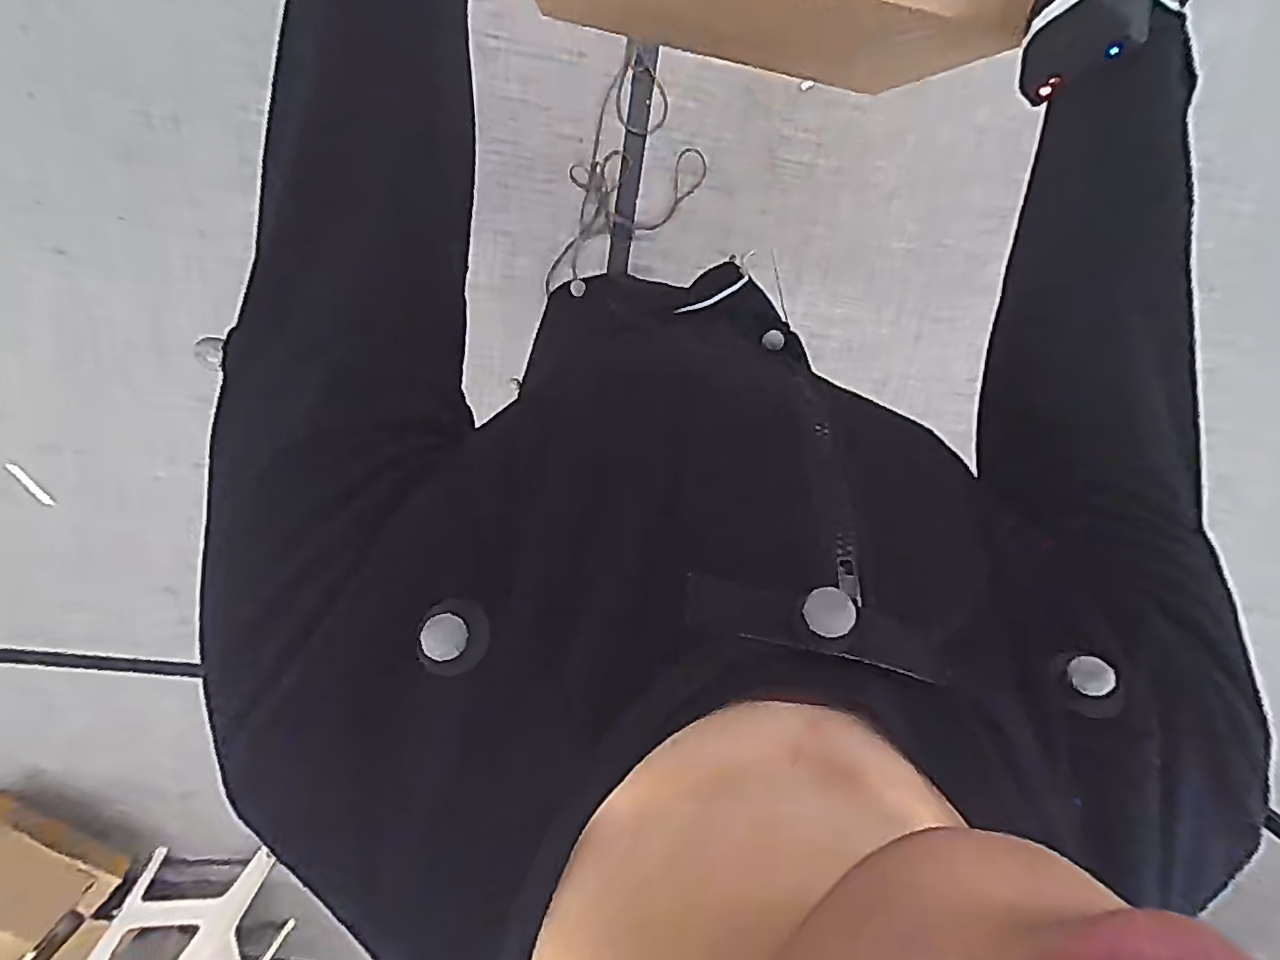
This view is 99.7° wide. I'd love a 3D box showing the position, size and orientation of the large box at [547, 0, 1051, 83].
[{"bbox_3d":[0.118,-0.561,0.429,0.408,0.320,0.320,9,120,-6],"label":"large box"}]
